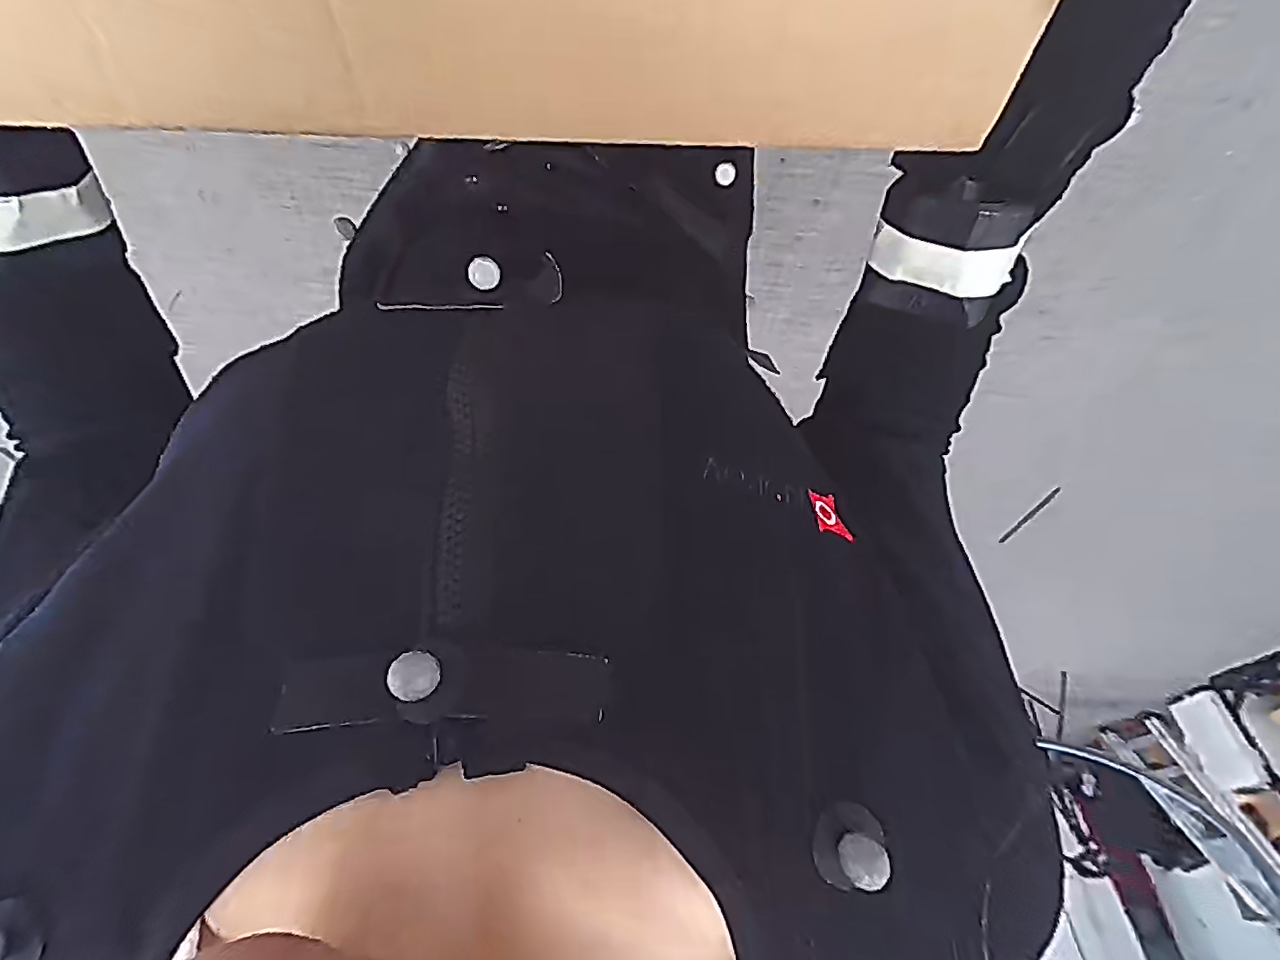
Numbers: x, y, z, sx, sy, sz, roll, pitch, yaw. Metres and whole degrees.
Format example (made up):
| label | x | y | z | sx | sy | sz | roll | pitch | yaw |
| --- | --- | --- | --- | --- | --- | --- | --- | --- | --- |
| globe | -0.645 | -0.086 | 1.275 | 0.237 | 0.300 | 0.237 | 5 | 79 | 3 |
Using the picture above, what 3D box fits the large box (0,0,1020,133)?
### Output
| label | x | y | z | sx | sy | sz | roll | pitch | yaw |
| --- | --- | --- | --- | --- | --- | --- | --- | --- | --- |
| large box | -0.064 | -0.352 | 0.175 | 0.408 | 0.320 | 0.320 | 0 | 145 | -2 |
